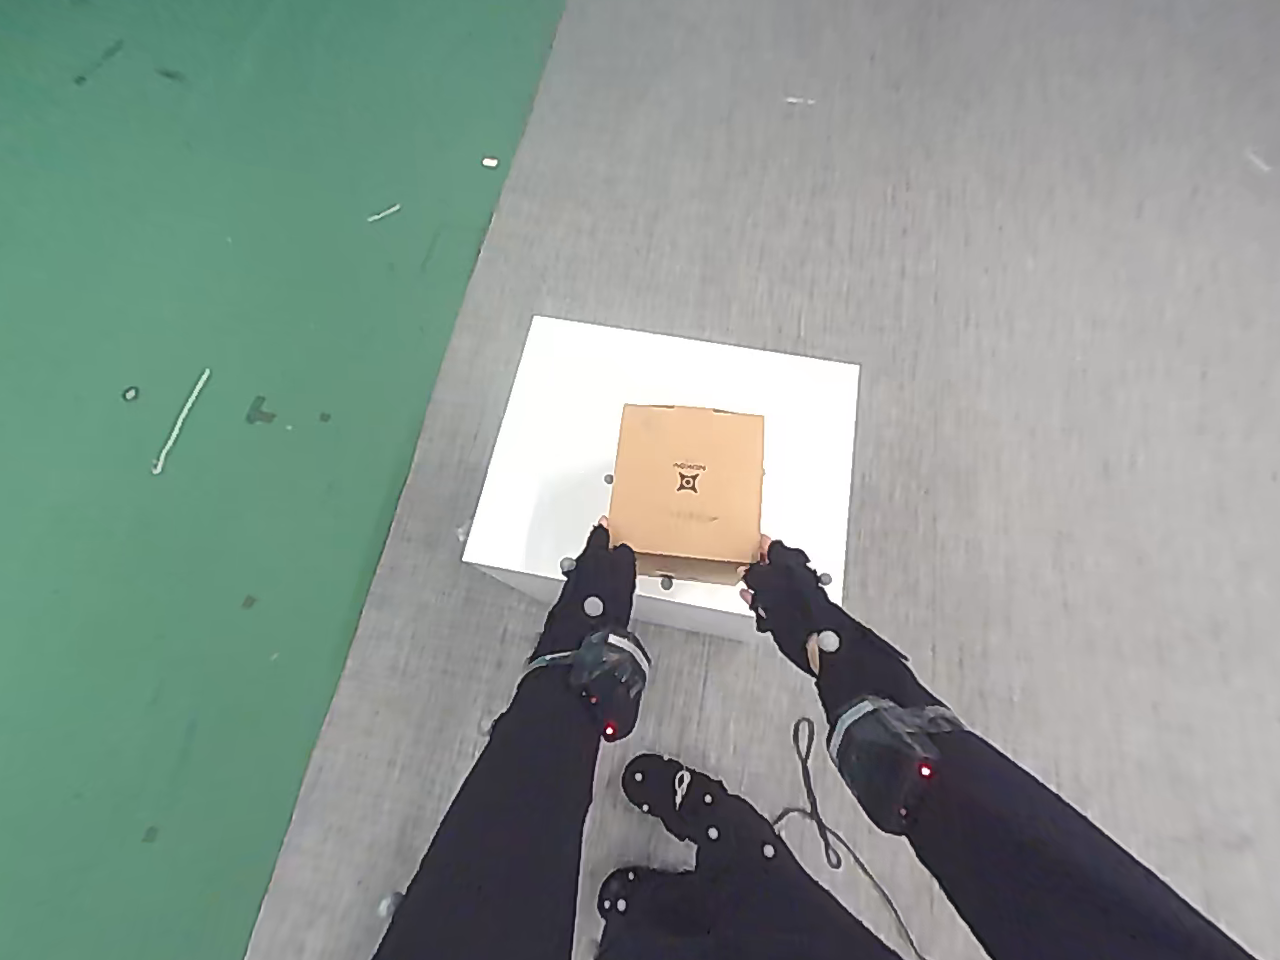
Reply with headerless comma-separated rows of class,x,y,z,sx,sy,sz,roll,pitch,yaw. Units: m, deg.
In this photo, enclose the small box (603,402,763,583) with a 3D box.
small box,0.053,0.023,0.665,0.168,0.176,0.179,4,73,5
